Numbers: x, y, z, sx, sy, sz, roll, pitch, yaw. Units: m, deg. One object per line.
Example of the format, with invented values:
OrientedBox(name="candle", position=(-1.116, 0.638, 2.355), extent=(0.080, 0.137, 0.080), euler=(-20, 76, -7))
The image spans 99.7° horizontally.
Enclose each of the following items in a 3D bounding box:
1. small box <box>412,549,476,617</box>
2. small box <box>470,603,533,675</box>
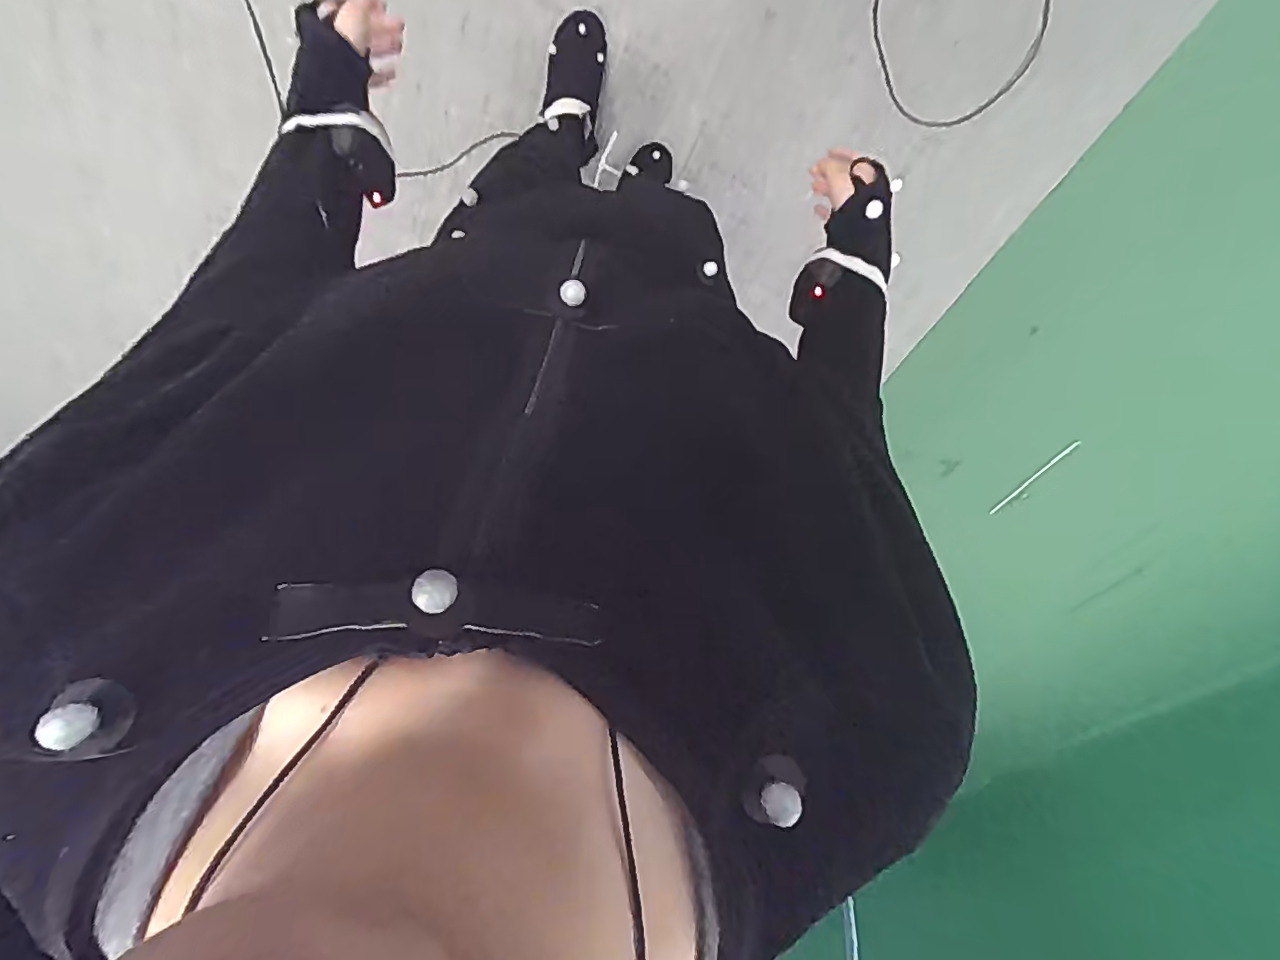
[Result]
OrientedBox(name="small box", position=(-0.717, 0.376, 1.991), extent=(0.179, 0.176, 0.168), euler=(17, 128, -20))
OrientedBox(name="small box", position=(-0.498, 0.576, 1.960), extent=(0.168, 0.176, 0.179), euler=(21, 127, -21))
